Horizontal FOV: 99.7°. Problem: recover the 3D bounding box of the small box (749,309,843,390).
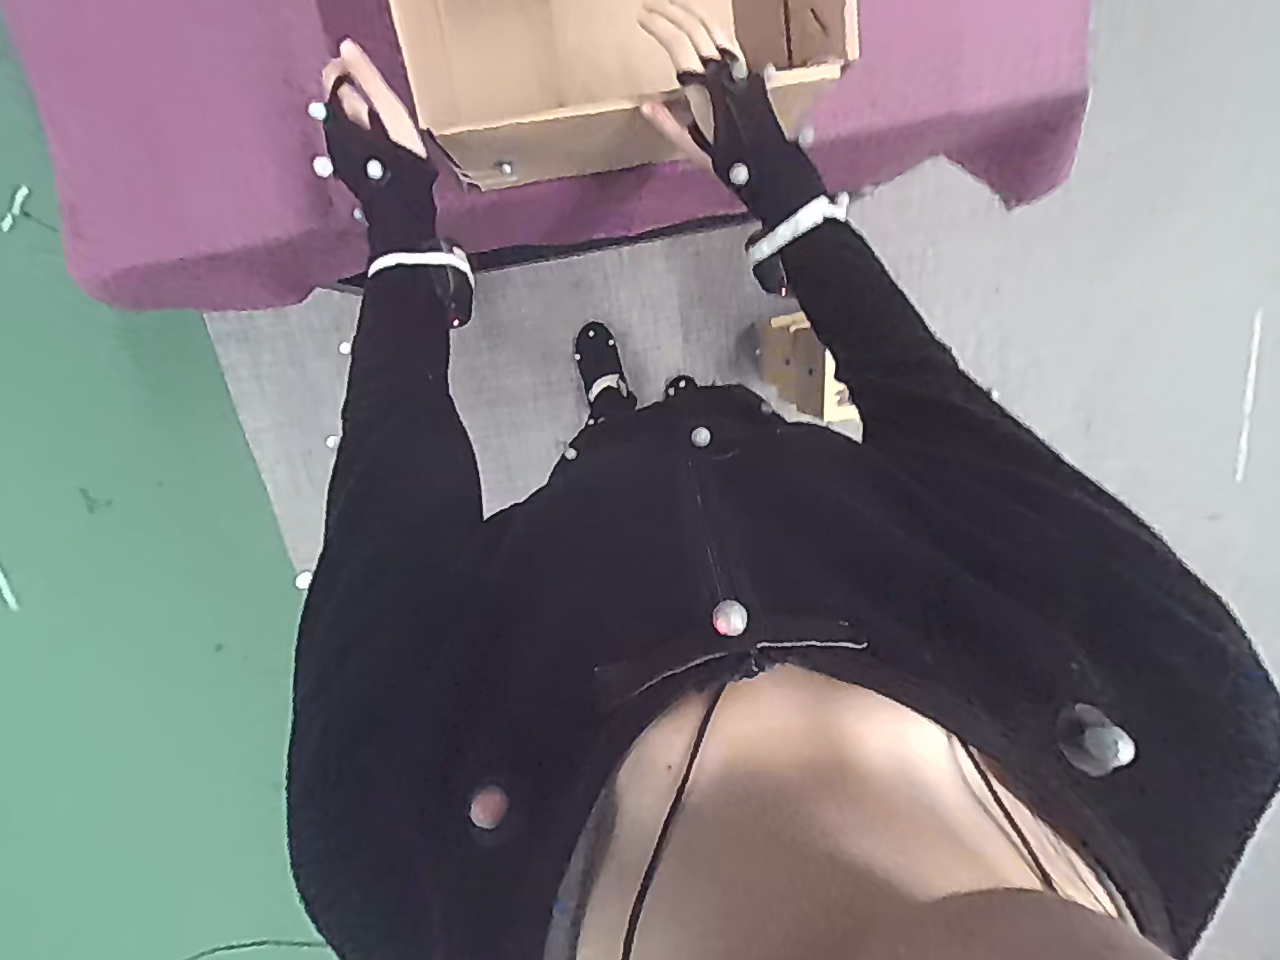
[{"bbox_3d":[0.389,-0.331,1.364,0.179,0.176,0.168,-11,104,1],"label":"small box"}]
